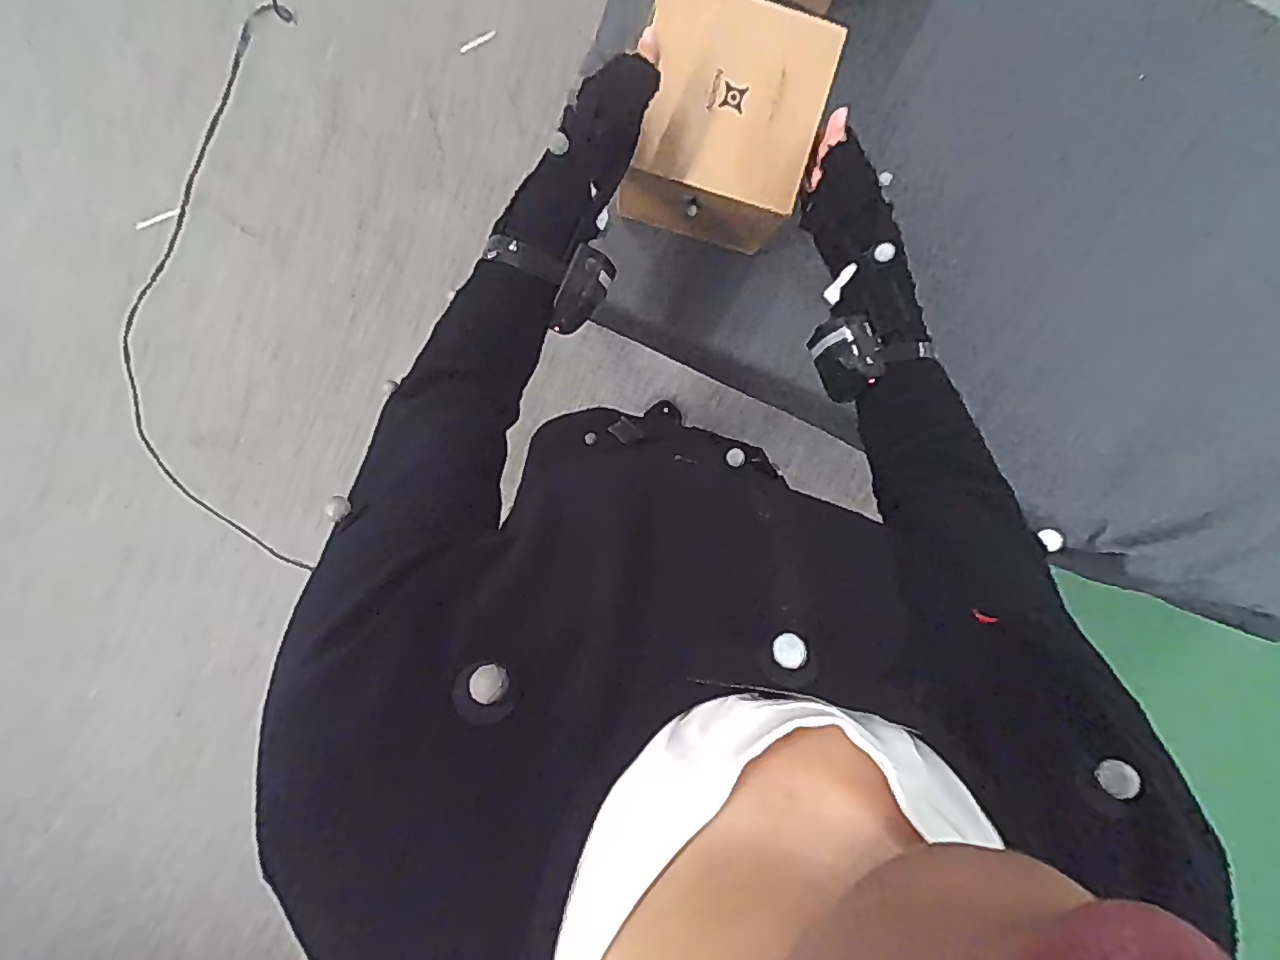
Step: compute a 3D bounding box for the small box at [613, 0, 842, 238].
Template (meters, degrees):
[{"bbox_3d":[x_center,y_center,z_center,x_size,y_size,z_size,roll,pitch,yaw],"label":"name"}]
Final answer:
[{"bbox_3d":[0.075,-0.376,0.572,0.179,0.176,0.168,14,101,-6],"label":"small box"}]
